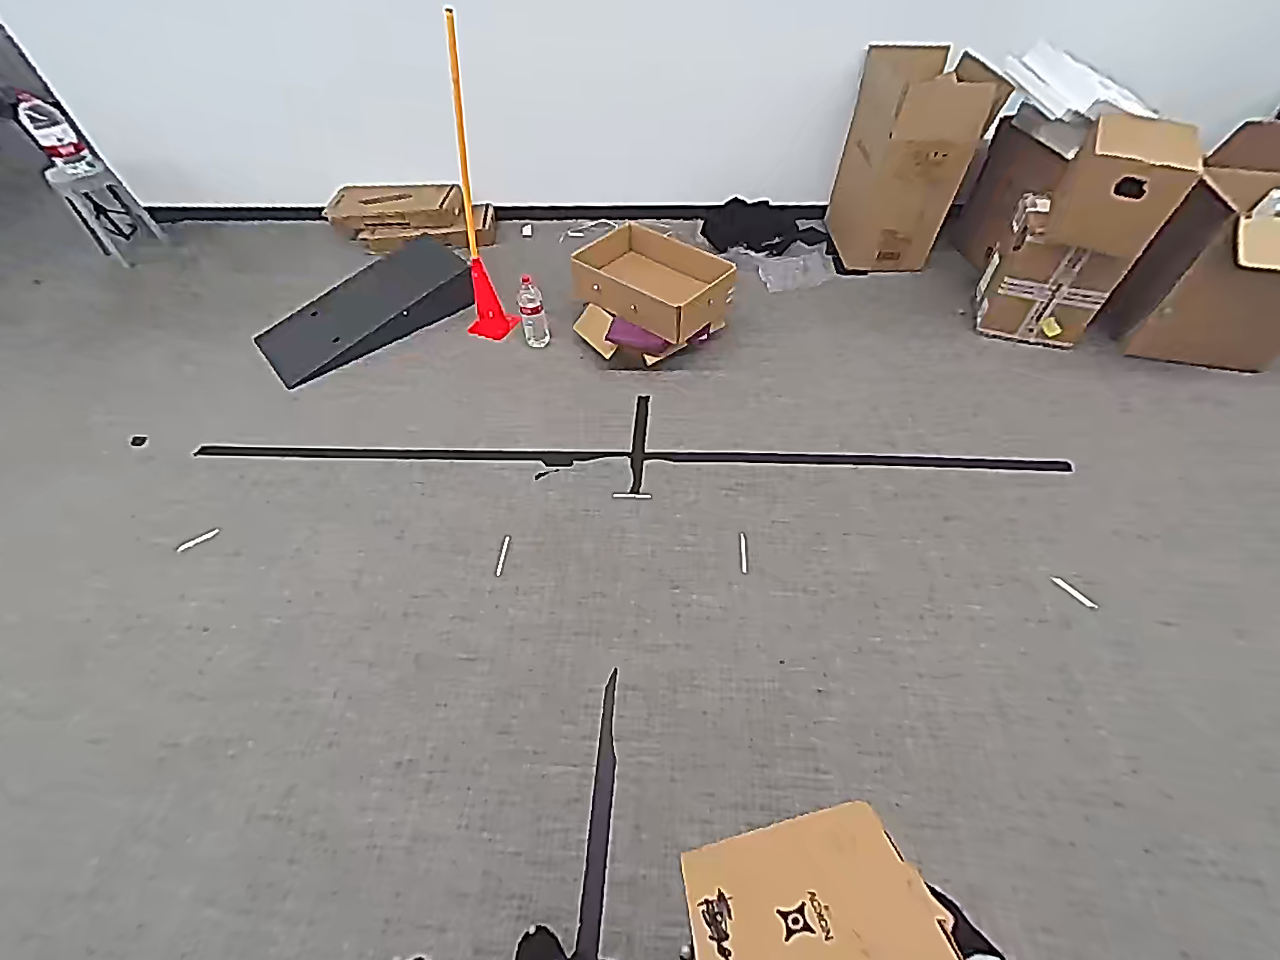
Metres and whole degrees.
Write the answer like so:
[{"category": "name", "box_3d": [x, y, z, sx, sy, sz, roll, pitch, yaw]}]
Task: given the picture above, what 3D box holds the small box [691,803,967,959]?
[{"category": "small box", "box_3d": [0.153, 0.406, 0.426, 0.179, 0.176, 0.168, -16, 12, 0]}]
